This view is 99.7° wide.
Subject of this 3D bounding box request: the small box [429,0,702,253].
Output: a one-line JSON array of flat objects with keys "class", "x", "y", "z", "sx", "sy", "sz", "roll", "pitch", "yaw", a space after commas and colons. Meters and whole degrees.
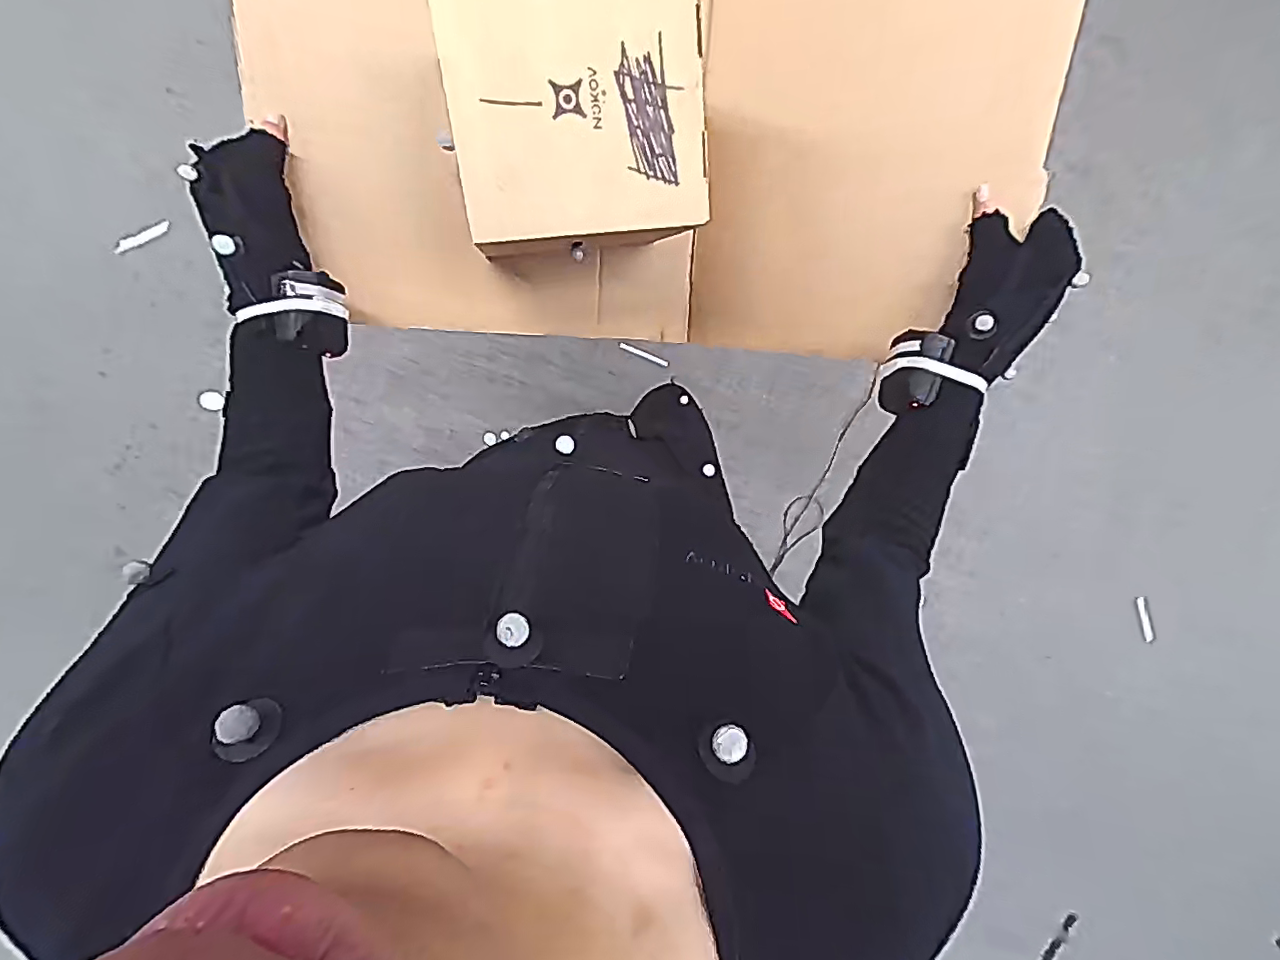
[{"class": "small box", "x": -0.060, "y": -0.285, "z": 0.446, "sx": 0.179, "sy": 0.176, "sz": 0.168, "roll": -9, "pitch": 111, "yaw": -9}]
